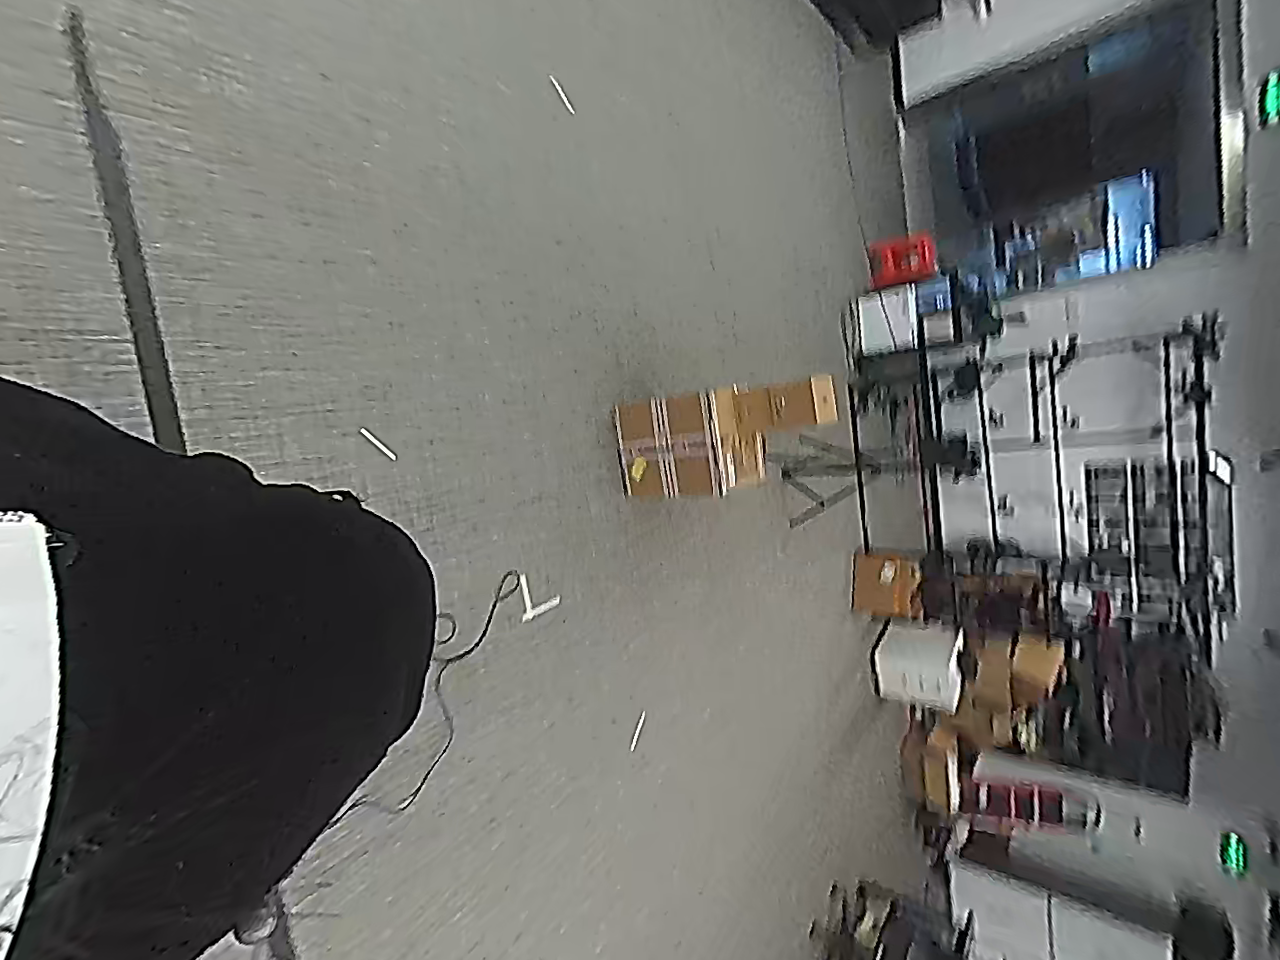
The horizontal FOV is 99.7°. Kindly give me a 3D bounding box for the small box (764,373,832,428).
[{"bbox_3d":[0.568,-0.288,1.950,0.179,0.176,0.168,-17,98,-46],"label":"small box"}]

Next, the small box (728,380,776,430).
[{"bbox_3d":[0.461,-0.289,2.074,0.179,0.176,0.168,-17,99,-46],"label":"small box"}]
